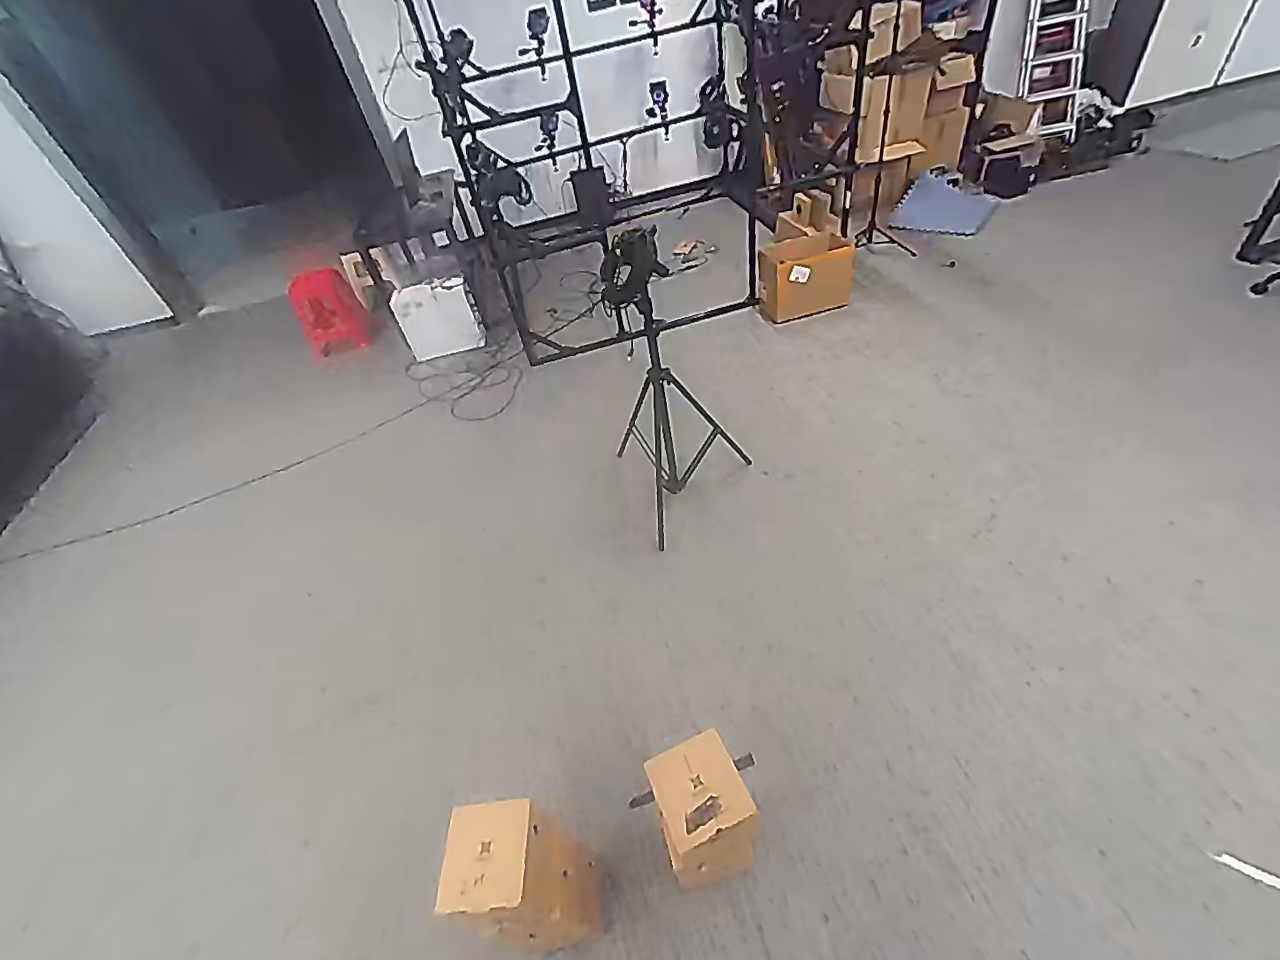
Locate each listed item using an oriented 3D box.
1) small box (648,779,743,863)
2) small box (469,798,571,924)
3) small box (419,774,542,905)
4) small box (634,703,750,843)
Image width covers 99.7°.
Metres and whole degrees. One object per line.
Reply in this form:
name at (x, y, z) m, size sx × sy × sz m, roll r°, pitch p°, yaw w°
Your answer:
small box at (0.116, 0.699, 1.185) m, size 0.168 × 0.176 × 0.179 m, roll -17°, pitch 43°, yaw -5°
small box at (-0.250, 0.814, 1.155) m, size 0.168 × 0.176 × 0.179 m, roll -14°, pitch 44°, yaw 1°
small box at (-0.296, 0.697, 1.047) m, size 0.168 × 0.176 × 0.179 m, roll -9°, pitch 45°, yaw 5°
small box at (0.105, 0.583, 1.066) m, size 0.168 × 0.176 × 0.179 m, roll -22°, pitch 45°, yaw -11°
